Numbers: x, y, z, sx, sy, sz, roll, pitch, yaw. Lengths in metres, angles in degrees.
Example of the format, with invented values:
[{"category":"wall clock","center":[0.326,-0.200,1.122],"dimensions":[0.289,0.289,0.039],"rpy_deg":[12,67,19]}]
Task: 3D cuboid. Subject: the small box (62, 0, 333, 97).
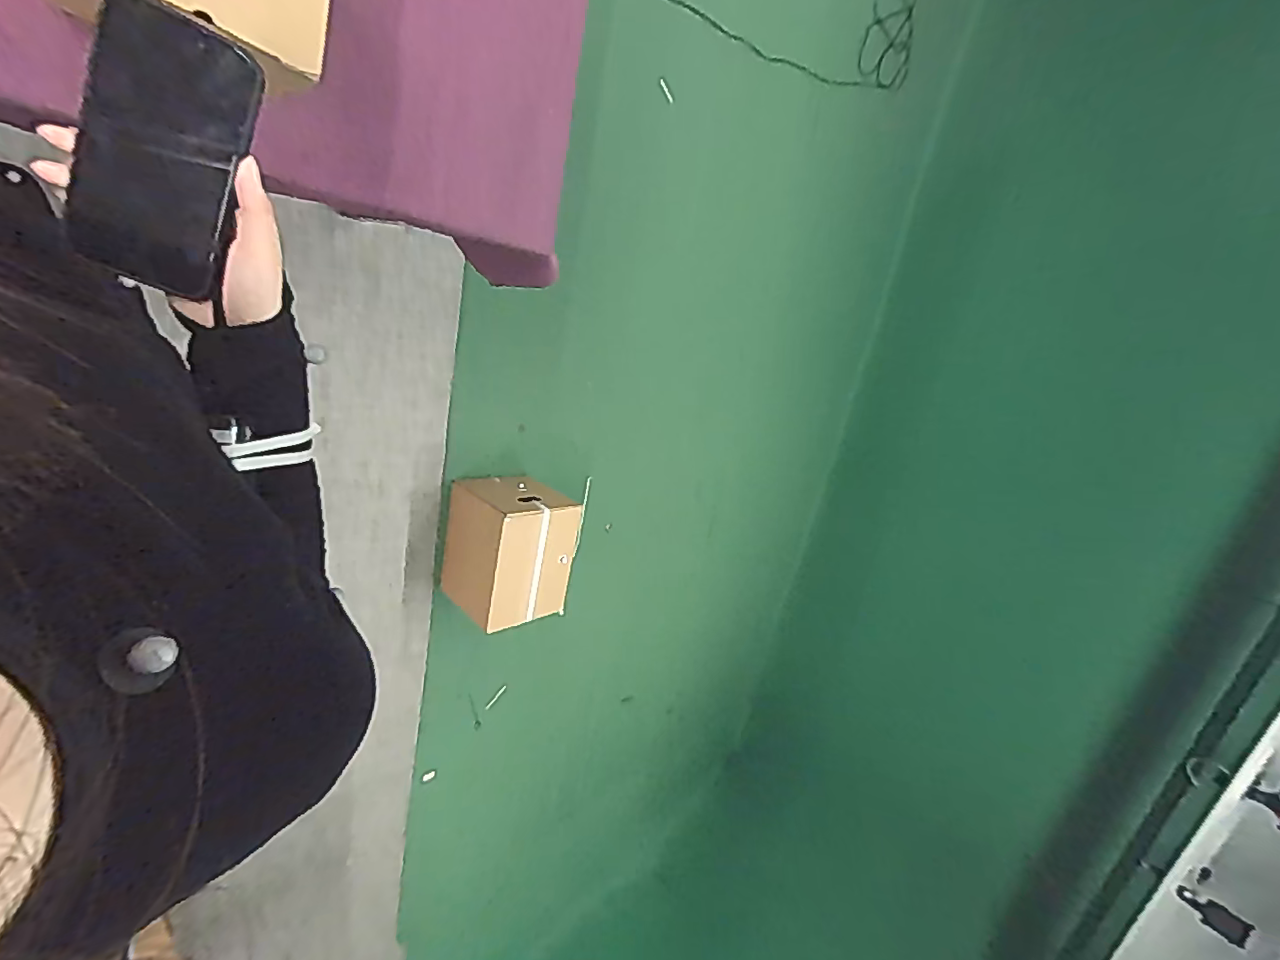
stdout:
[{"category":"small box","center":[-0.370,-0.458,0.448],"dimensions":[0.168,0.176,0.179],"rpy_deg":[0,110,-49]}]
